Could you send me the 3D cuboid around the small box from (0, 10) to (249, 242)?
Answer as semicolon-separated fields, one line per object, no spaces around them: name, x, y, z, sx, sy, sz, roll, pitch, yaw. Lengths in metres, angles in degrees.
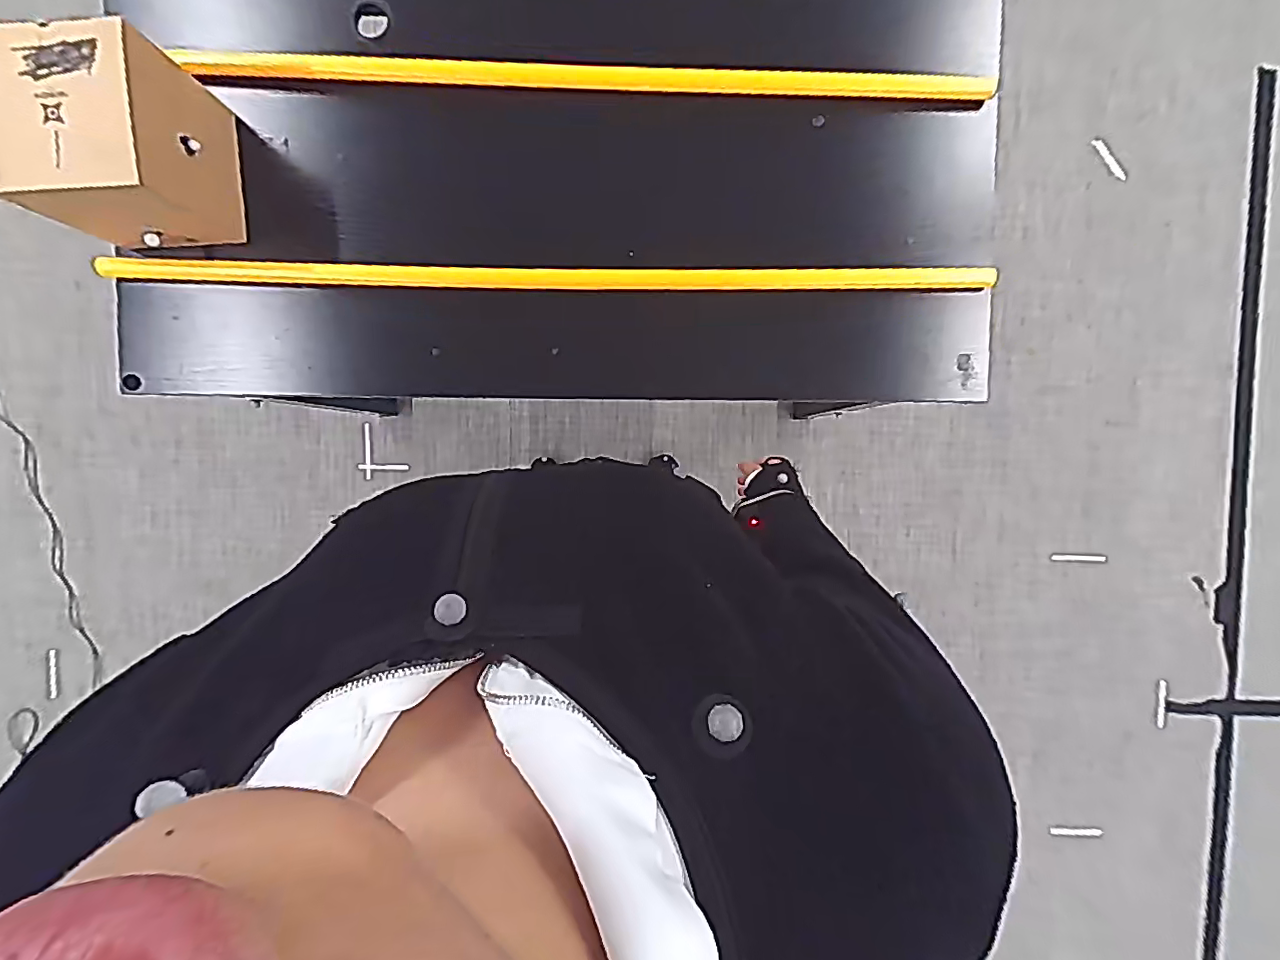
small box;-0.614;-0.409;0.651;0.168;0.176;0.179;-3;94;-1
